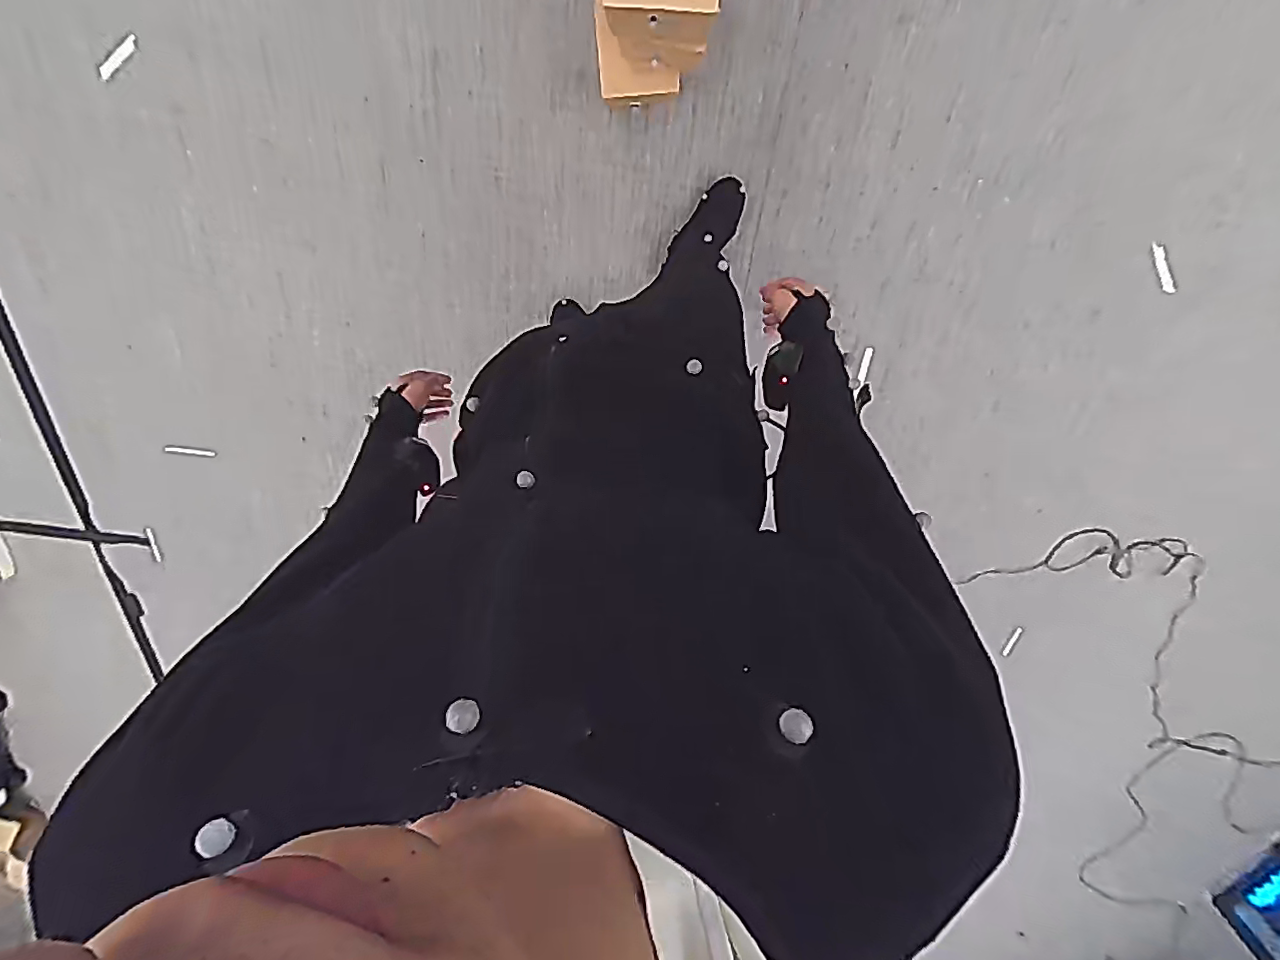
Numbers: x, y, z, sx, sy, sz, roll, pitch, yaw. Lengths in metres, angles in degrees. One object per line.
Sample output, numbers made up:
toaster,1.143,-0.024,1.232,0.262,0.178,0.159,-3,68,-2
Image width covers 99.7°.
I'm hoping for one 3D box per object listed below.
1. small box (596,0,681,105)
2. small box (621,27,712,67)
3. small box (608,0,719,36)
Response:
small box,0.000,-0.913,1.141,0.168,0.176,0.179,-3,118,3
small box,0.057,-0.882,0.972,0.168,0.176,0.179,11,118,-4
small box,0.039,-0.806,0.826,0.179,0.176,0.168,4,118,0
